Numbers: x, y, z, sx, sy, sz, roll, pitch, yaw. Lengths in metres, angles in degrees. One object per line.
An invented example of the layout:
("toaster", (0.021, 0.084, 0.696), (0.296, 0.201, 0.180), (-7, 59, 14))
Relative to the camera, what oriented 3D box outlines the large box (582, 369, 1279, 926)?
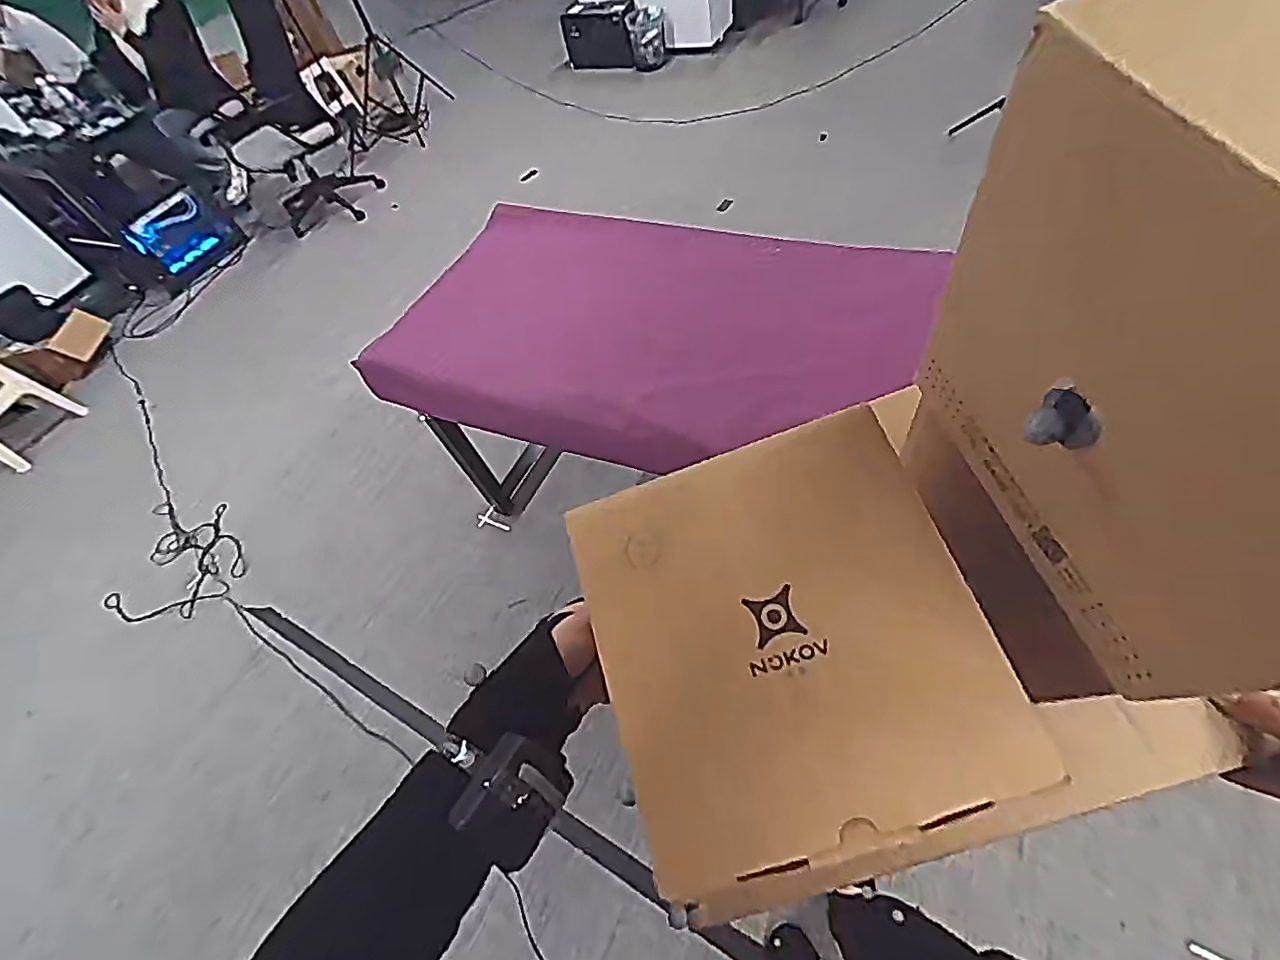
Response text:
("large box", (0.211, 0.150, 0.535), (0.408, 0.320, 0.320), (-22, 59, 5))
